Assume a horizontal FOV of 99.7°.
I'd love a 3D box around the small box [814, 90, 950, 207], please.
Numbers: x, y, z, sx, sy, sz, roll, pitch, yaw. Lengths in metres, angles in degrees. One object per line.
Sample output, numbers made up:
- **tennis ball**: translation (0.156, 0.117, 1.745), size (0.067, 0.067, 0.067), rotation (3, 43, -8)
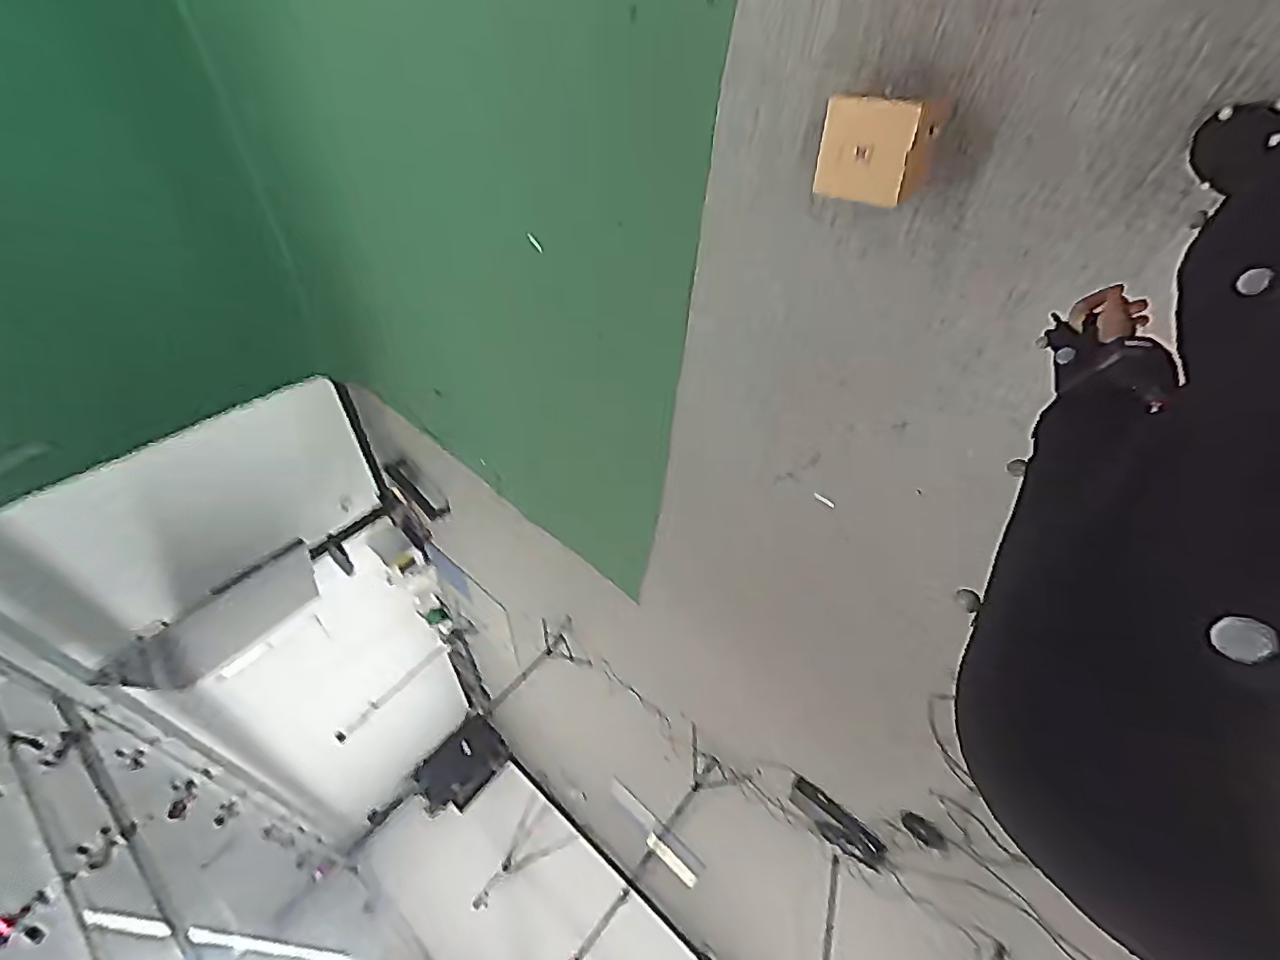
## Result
- **small box**: translation (0.474, -0.655, 1.060), size (0.179, 0.176, 0.168), rotation (29, 139, 30)
